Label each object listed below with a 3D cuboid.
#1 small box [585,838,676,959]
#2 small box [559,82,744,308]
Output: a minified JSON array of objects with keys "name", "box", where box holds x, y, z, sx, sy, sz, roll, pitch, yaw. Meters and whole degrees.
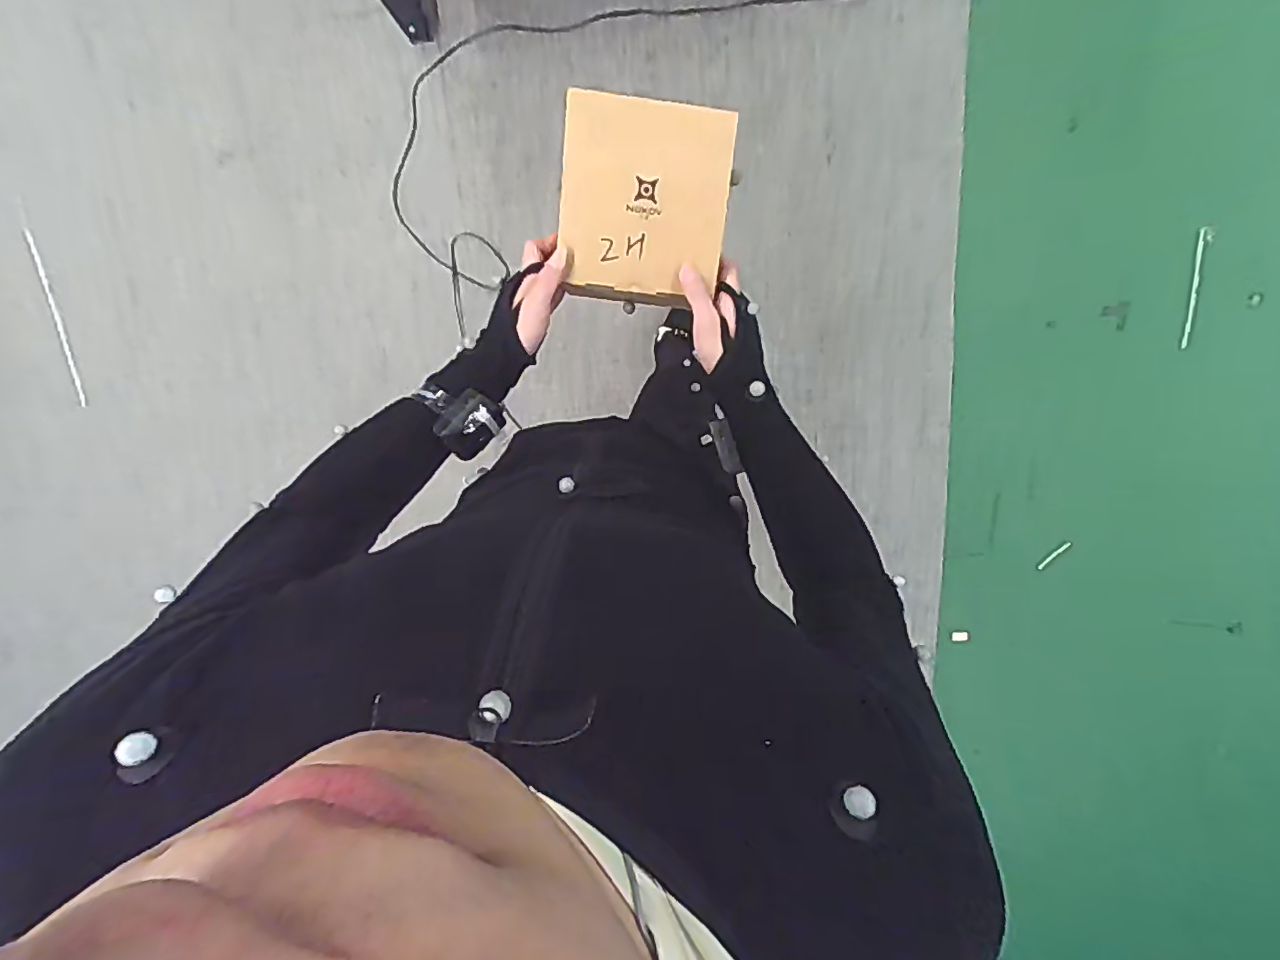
[{"name":"small box","box":[-0.018,0.892,1.141,0.179,0.176,0.168,-2,102,1]},{"name":"small box","box":[0.004,-0.297,0.603,0.168,0.176,0.179,6,104,-5]}]
